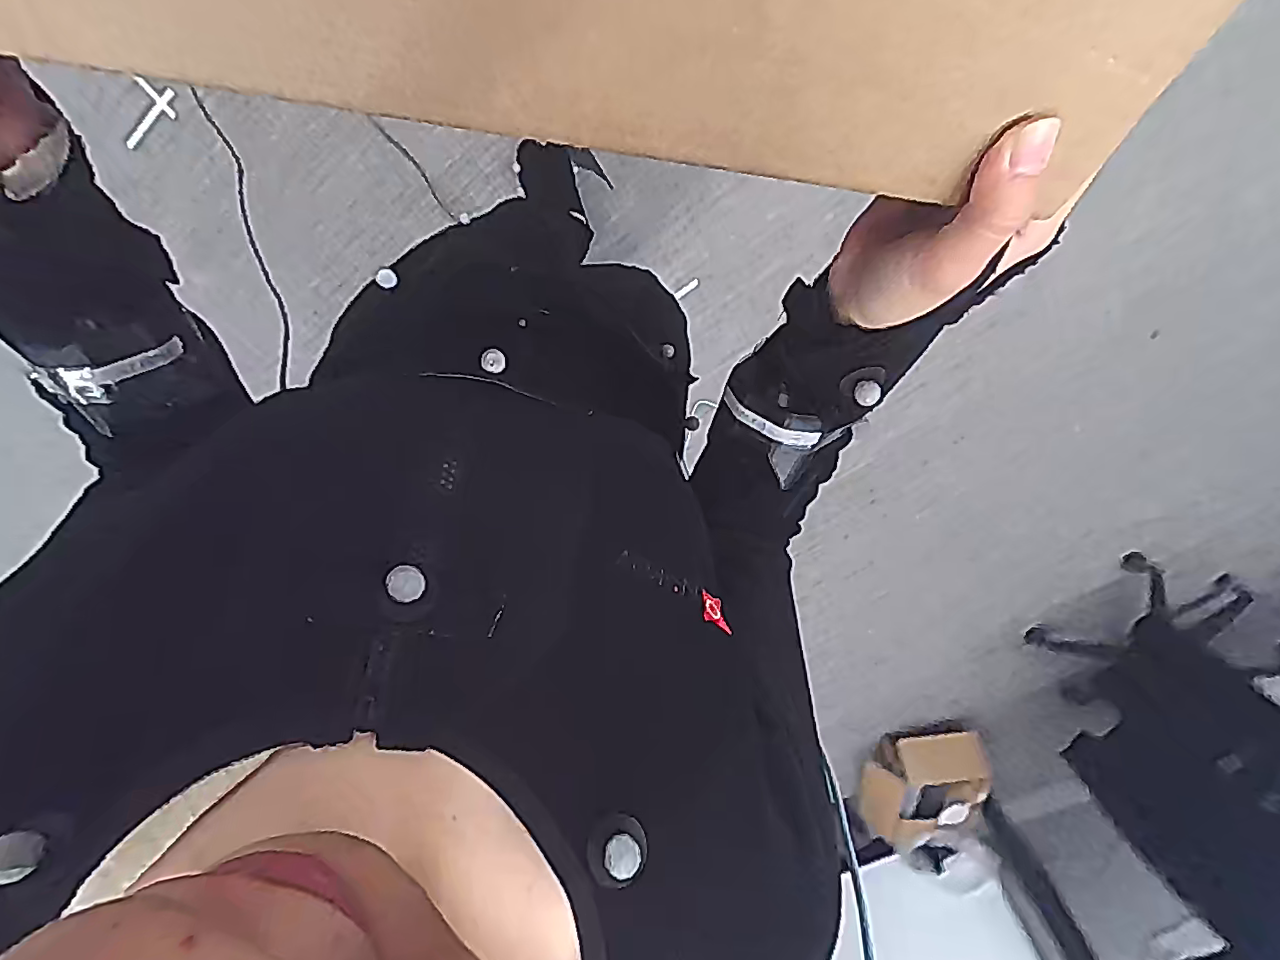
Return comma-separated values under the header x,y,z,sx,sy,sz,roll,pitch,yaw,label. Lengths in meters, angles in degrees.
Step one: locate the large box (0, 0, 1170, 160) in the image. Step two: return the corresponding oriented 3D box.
x,y,z,sx,sy,sz,roll,pitch,yaw,label
-0.034,-0.331,0.126,0.408,0.320,0.320,3,150,-6,large box
